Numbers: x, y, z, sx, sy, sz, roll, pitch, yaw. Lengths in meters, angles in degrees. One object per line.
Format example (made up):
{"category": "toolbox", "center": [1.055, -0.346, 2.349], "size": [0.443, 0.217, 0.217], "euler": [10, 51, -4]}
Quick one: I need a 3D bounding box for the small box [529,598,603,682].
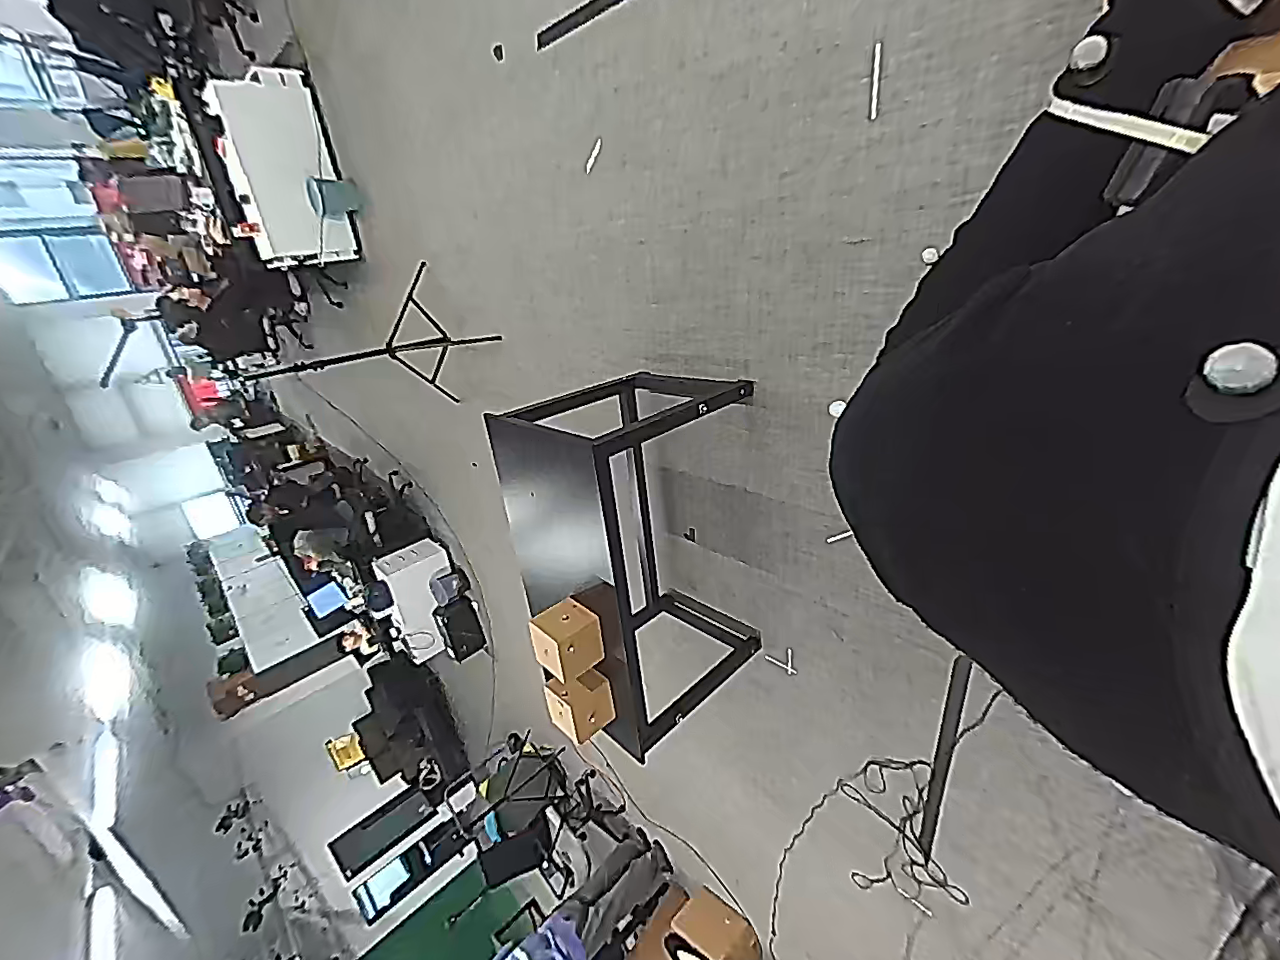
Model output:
{"category": "small box", "center": [-0.240, 0.519, 1.785], "size": [0.168, 0.176, 0.179], "euler": [21, 126, 44]}

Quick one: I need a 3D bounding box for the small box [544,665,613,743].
{"category": "small box", "center": [-0.210, 0.767, 1.895], "size": [0.168, 0.176, 0.179], "euler": [16, 123, 46]}
